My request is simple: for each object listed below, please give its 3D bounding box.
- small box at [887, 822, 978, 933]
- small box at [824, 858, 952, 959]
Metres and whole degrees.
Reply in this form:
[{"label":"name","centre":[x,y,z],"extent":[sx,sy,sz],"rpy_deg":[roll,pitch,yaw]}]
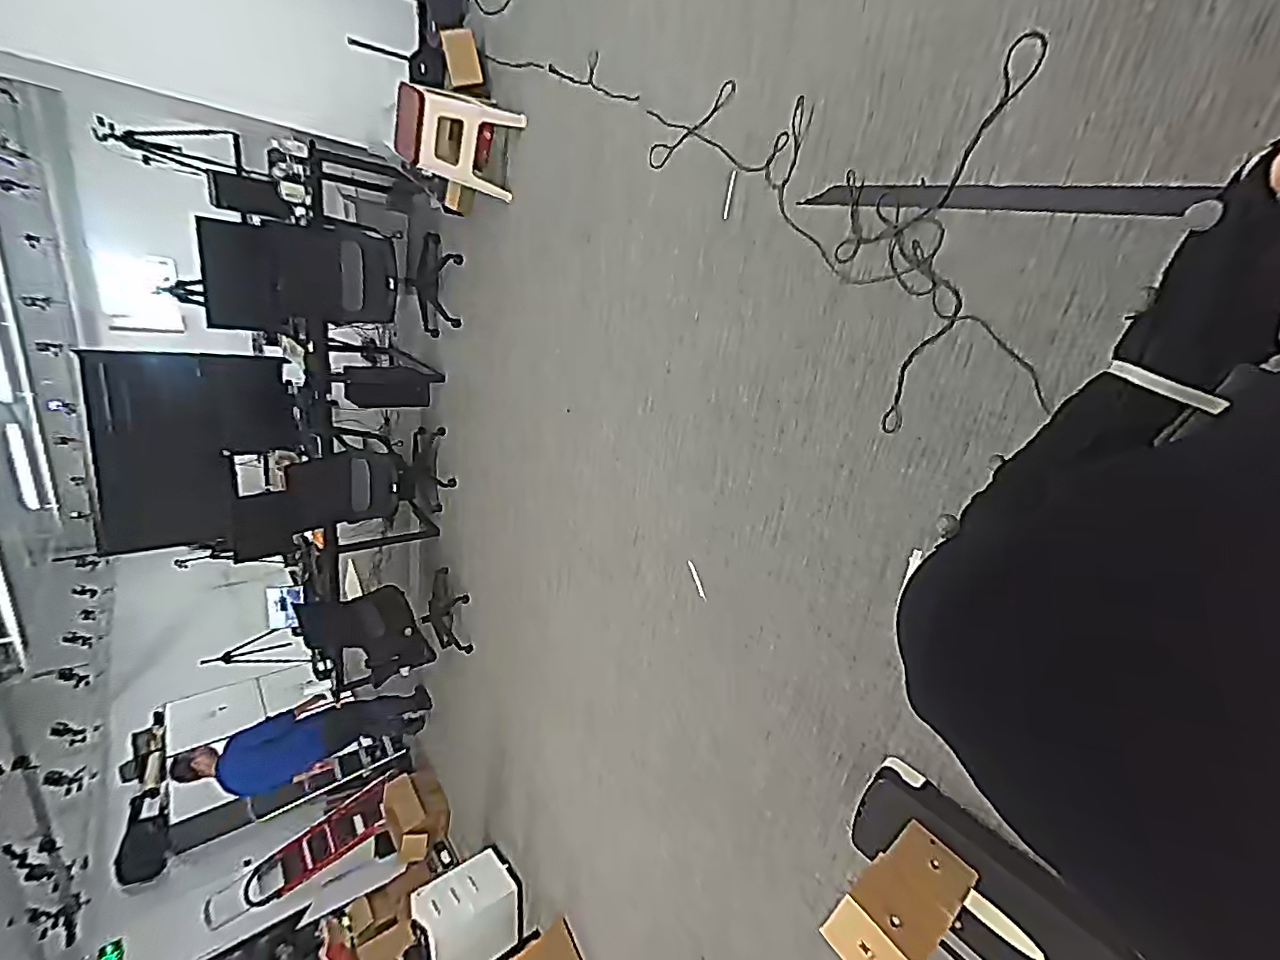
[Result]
[{"label":"small box","centre":[0.689,0.987,1.317],"extent":[0.168,0.176,0.179],"rpy_deg":[34,122,41]},{"label":"small box","centre":[0.559,1.003,1.220],"extent":[0.179,0.176,0.168],"rpy_deg":[37,123,39]}]
